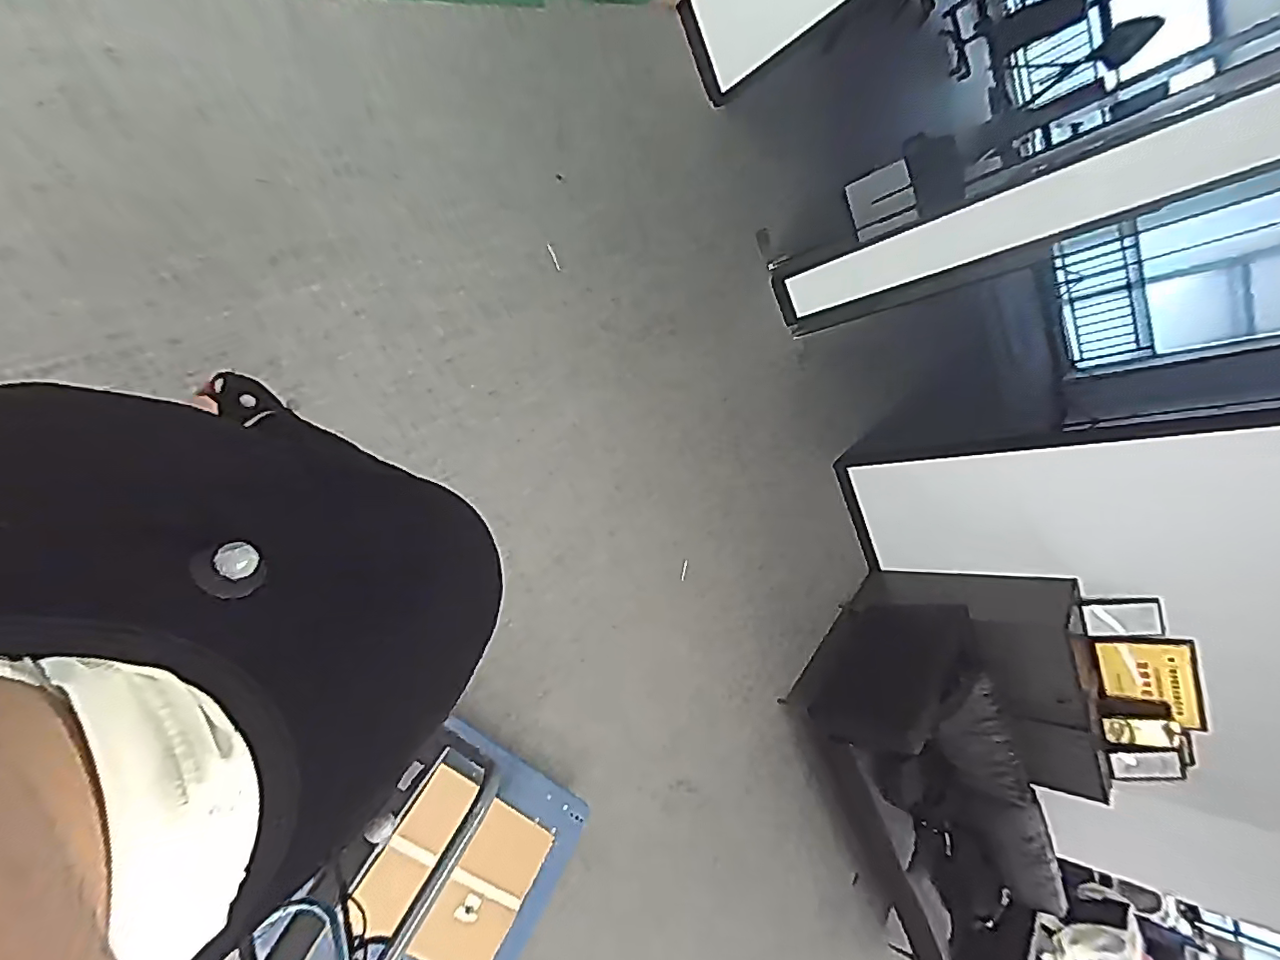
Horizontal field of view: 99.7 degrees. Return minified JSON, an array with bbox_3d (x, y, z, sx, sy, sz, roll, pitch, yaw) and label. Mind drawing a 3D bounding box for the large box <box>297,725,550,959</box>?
[{"bbox_3d":[-0.507,0.853,1.293,0.408,0.320,0.320,52,55,-28],"label":"large box"}]
